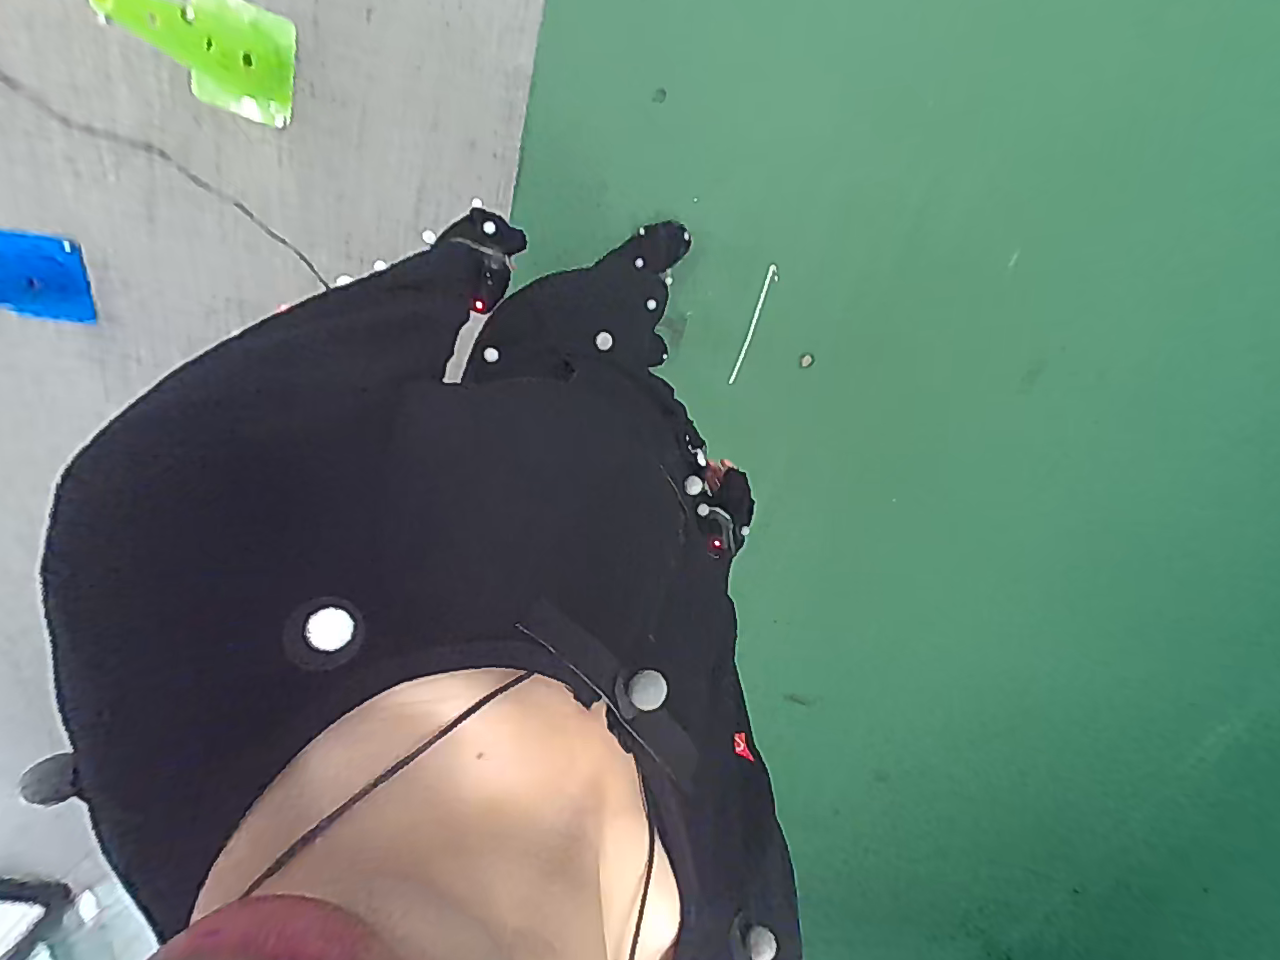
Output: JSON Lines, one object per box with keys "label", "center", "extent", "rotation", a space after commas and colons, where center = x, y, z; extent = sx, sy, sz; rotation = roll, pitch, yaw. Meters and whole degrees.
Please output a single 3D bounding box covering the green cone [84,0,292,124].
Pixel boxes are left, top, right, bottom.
{"label": "green cone", "center": [-0.831, -0.815, 0.974], "extent": [0.202, 0.368, 0.200], "rotation": [16, 112, -9]}
